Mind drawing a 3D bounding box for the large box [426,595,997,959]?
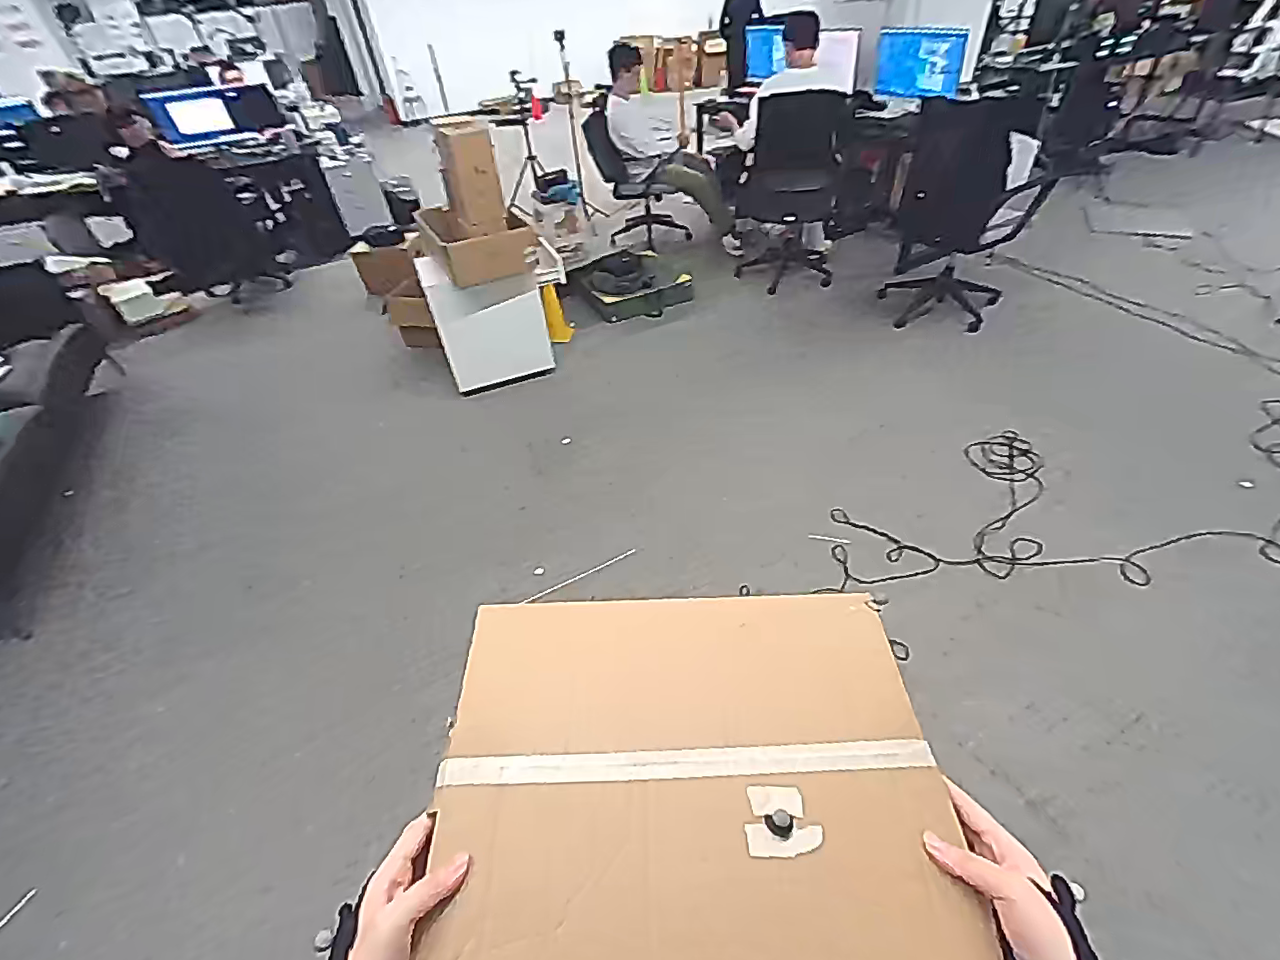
[{"bbox_3d":[0.044,0.340,0.571,0.408,0.320,0.320,-1,47,-1],"label":"large box"}]
